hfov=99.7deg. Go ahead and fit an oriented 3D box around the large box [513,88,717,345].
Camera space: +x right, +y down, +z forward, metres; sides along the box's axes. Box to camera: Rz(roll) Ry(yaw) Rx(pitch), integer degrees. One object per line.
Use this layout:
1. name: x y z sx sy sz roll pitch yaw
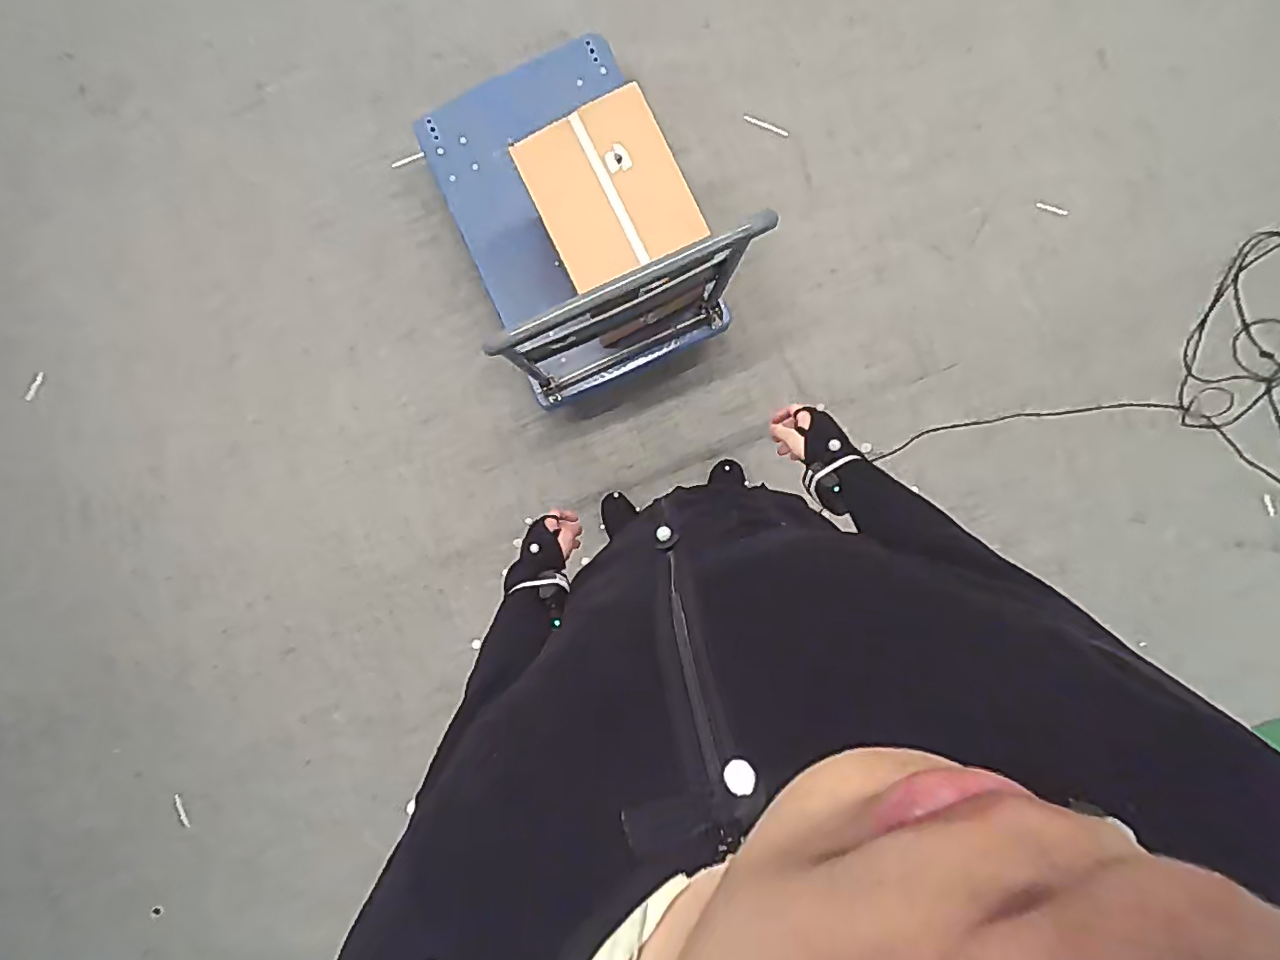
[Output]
1. large box: -0.048 -0.604 1.315 0.320 0.320 0.408 -26 89 1
